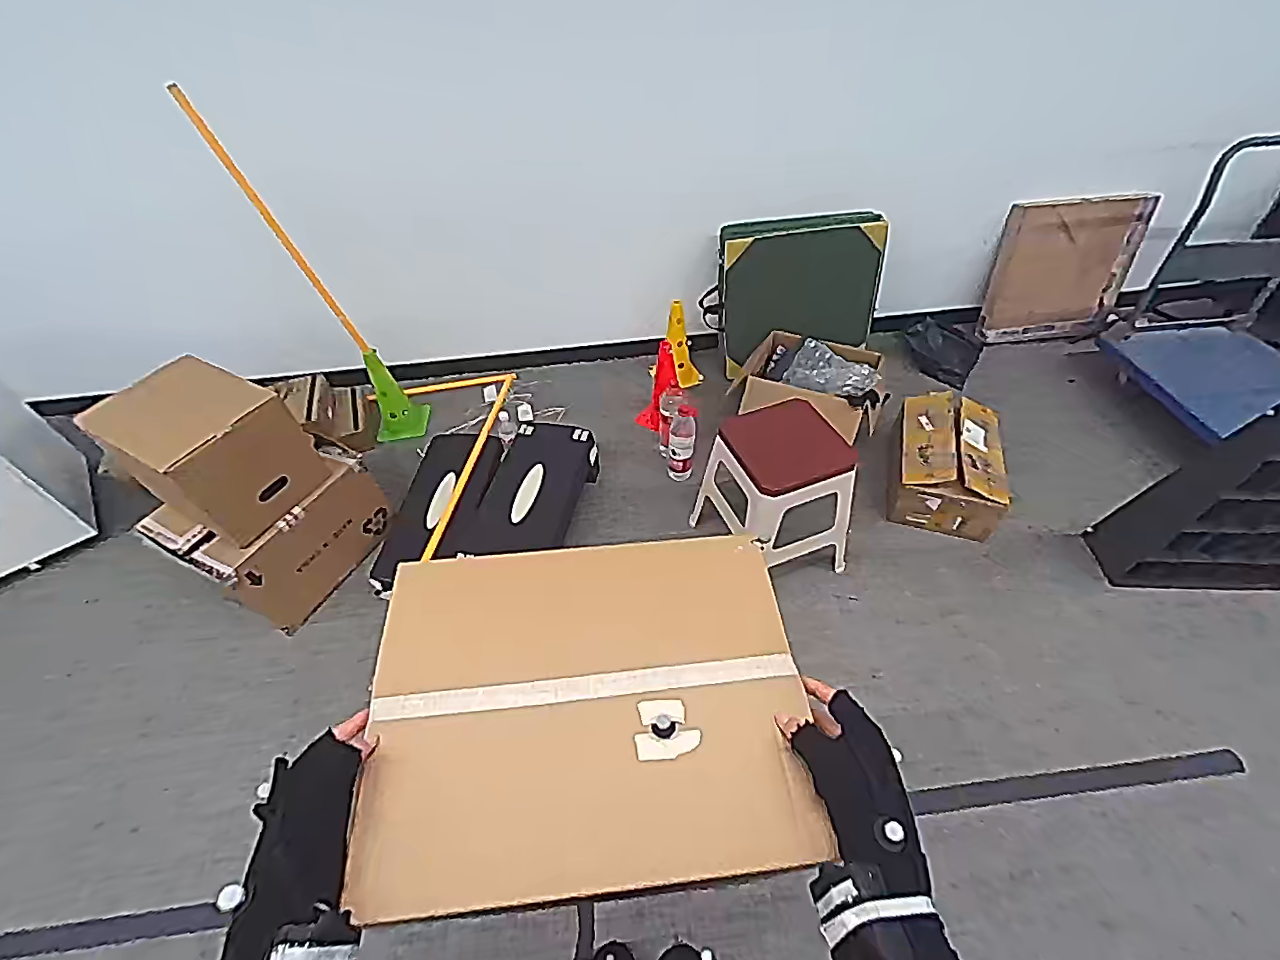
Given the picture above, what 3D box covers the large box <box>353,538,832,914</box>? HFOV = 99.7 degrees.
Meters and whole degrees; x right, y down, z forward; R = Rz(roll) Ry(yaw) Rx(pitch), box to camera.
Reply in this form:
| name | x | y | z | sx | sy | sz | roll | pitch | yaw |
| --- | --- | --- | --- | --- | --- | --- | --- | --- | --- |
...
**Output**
| name | x | y | z | sx | sy | sz | roll | pitch | yaw |
| --- | --- | --- | --- | --- | --- | --- | --- | --- | --- |
| large box | -0.051 | 0.296 | 0.648 | 0.408 | 0.320 | 0.320 | -4 | 52 | -4 |
